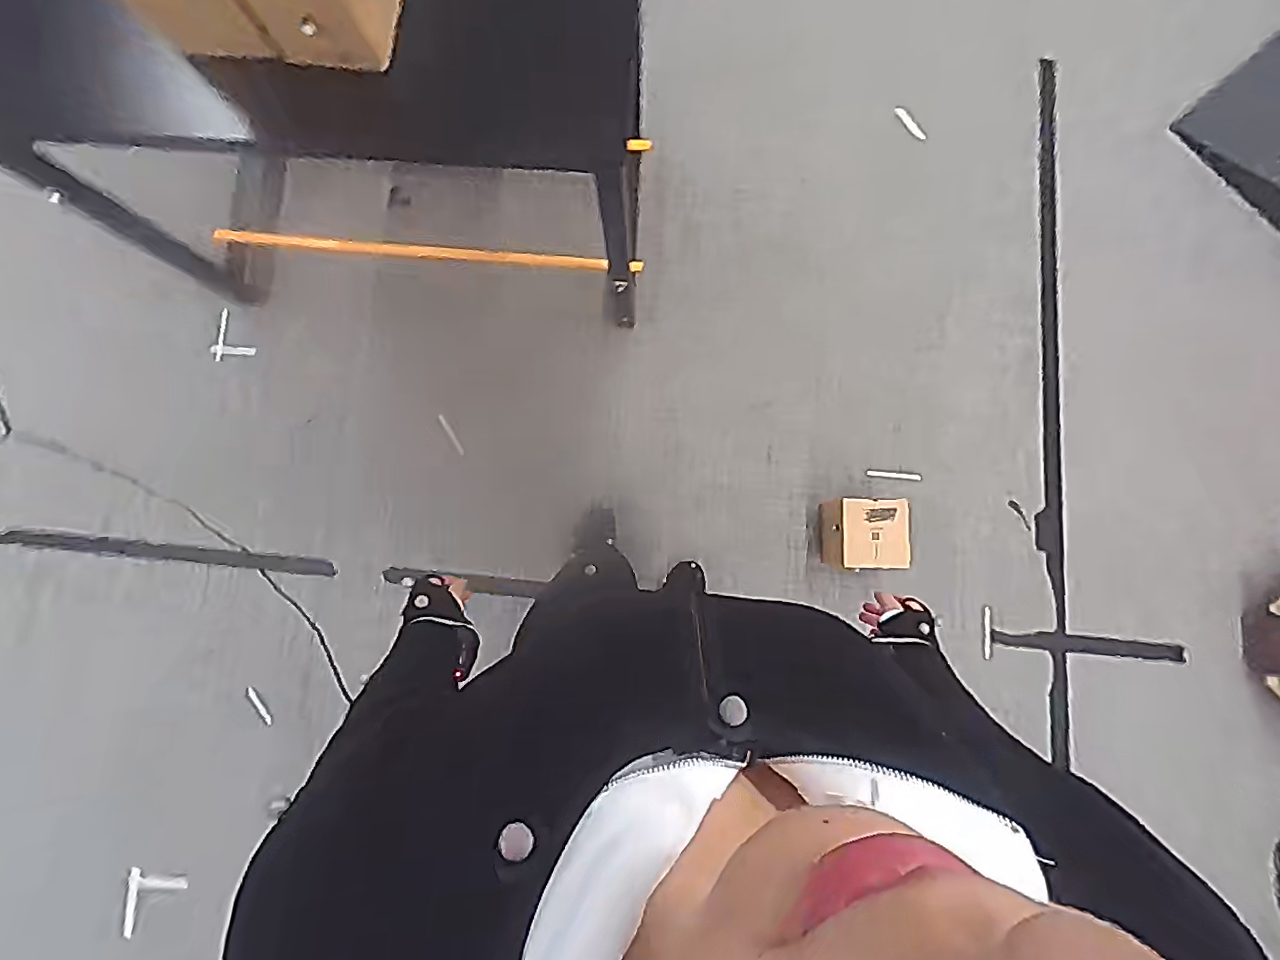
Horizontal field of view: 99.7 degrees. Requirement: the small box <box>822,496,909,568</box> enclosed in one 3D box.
[{"bbox_3d":[0.590,0.139,1.432,0.168,0.176,0.179,1,84,1],"label":"small box"}]
